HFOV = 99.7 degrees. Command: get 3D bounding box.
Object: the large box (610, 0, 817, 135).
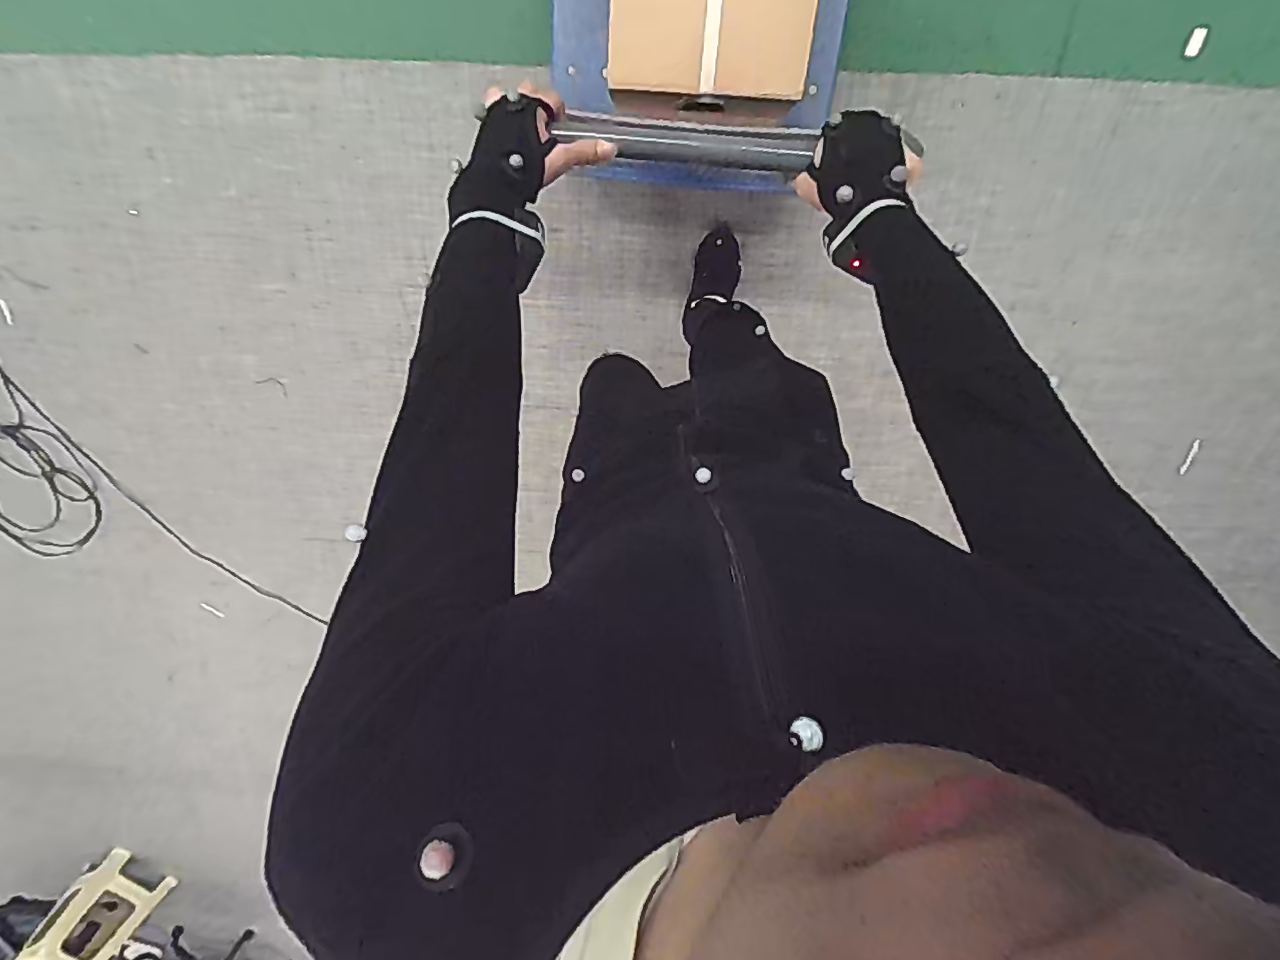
[{"bbox_3d":[0.125,-0.853,0.921,0.320,0.320,0.408,5,114,1],"label":"large box"}]
